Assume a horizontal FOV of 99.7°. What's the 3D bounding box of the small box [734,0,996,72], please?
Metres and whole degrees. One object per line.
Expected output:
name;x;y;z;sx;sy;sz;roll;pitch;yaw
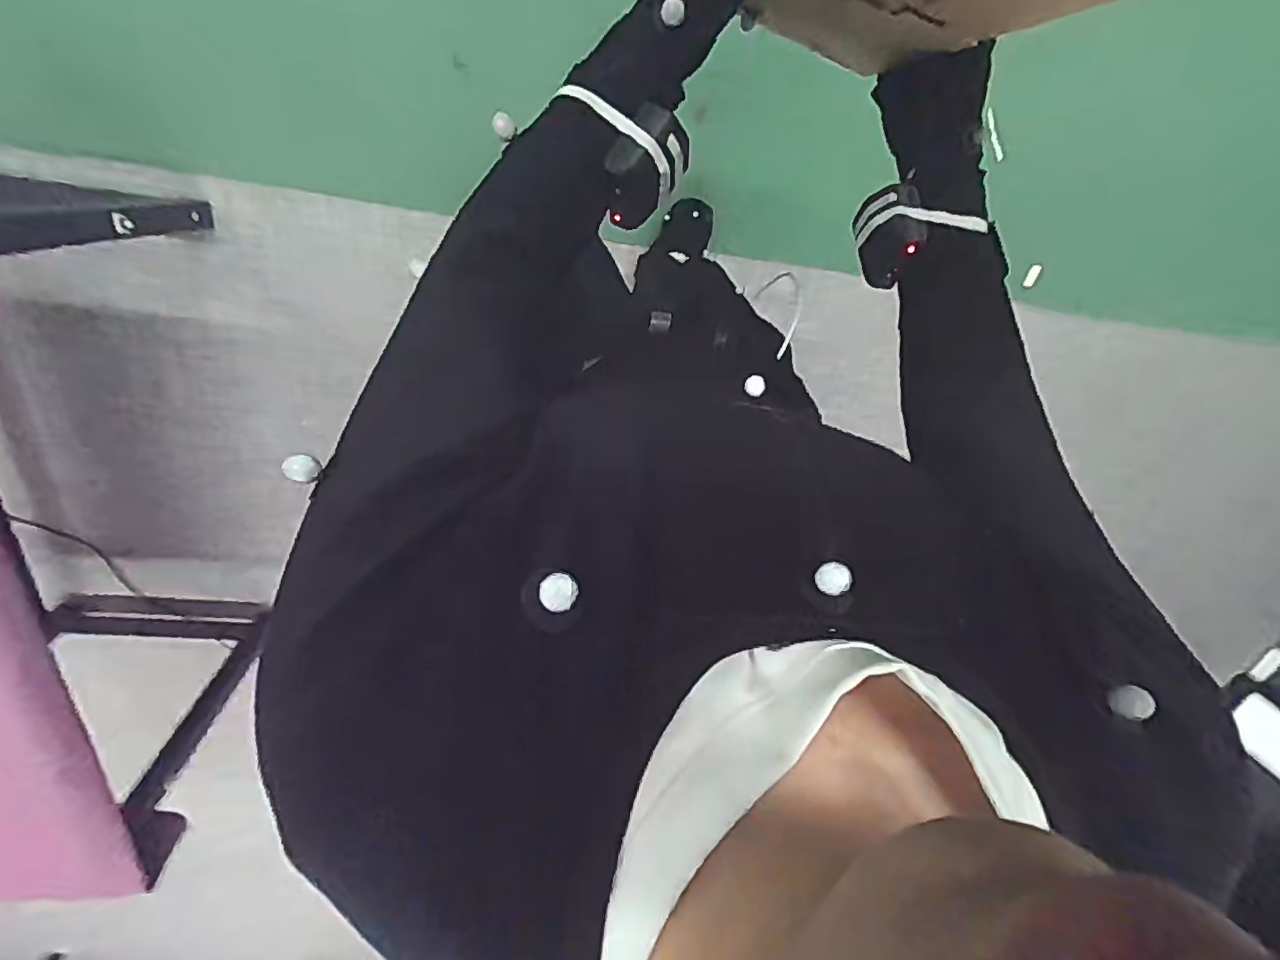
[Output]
small box;0.176;-0.434;0.392;0.168;0.176;0.179;13;116;-15
